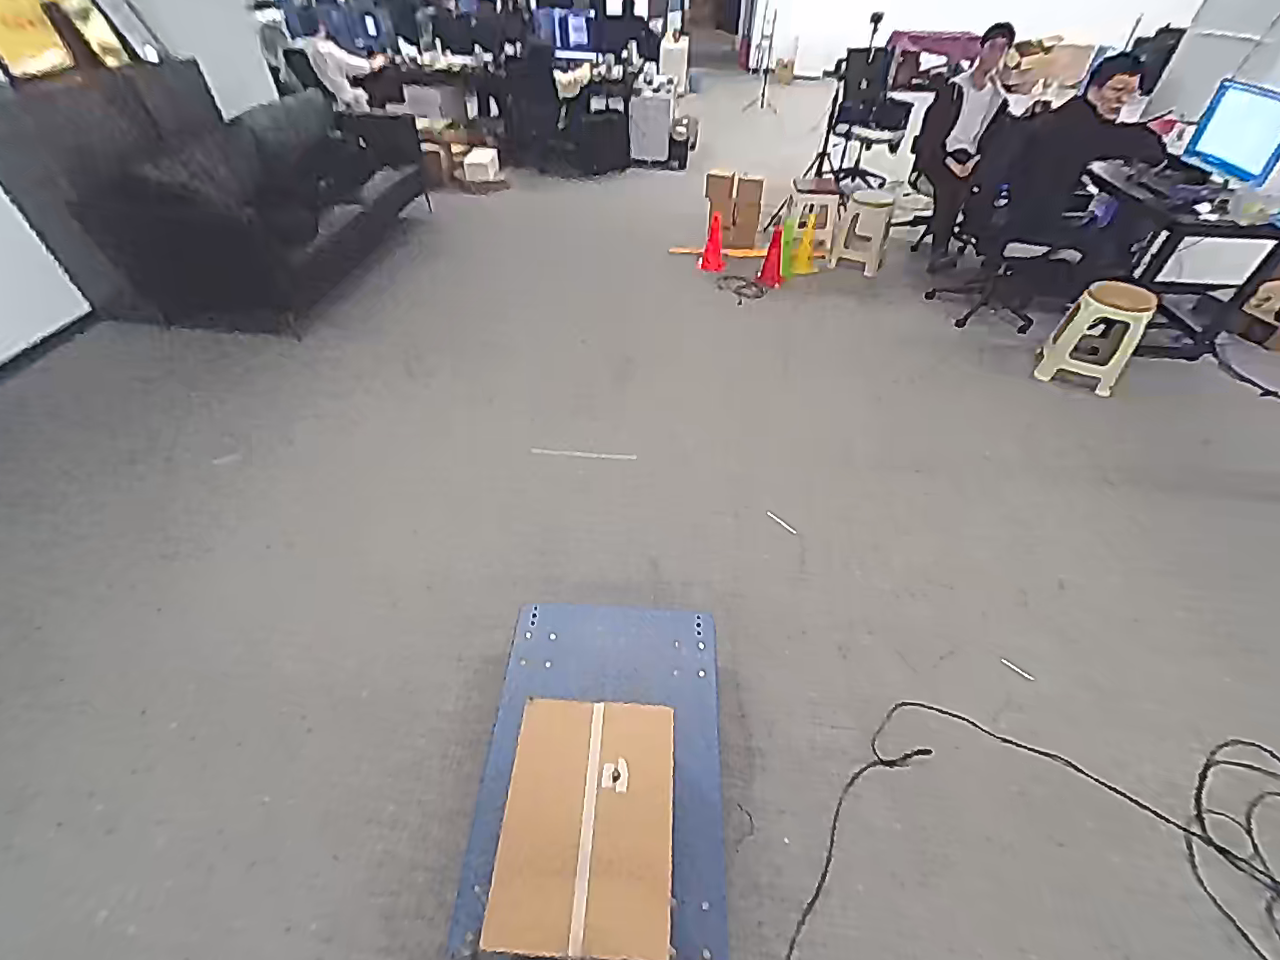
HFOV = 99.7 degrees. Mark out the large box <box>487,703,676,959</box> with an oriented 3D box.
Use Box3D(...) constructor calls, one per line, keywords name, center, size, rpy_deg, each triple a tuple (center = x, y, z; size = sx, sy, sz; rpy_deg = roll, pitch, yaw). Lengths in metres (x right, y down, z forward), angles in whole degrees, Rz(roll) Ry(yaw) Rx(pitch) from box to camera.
Box3D(name="large box", center=(-0.090, 0.720, 1.109), size=(0.320, 0.320, 0.408), rpy_deg=(3, 49, 1))
